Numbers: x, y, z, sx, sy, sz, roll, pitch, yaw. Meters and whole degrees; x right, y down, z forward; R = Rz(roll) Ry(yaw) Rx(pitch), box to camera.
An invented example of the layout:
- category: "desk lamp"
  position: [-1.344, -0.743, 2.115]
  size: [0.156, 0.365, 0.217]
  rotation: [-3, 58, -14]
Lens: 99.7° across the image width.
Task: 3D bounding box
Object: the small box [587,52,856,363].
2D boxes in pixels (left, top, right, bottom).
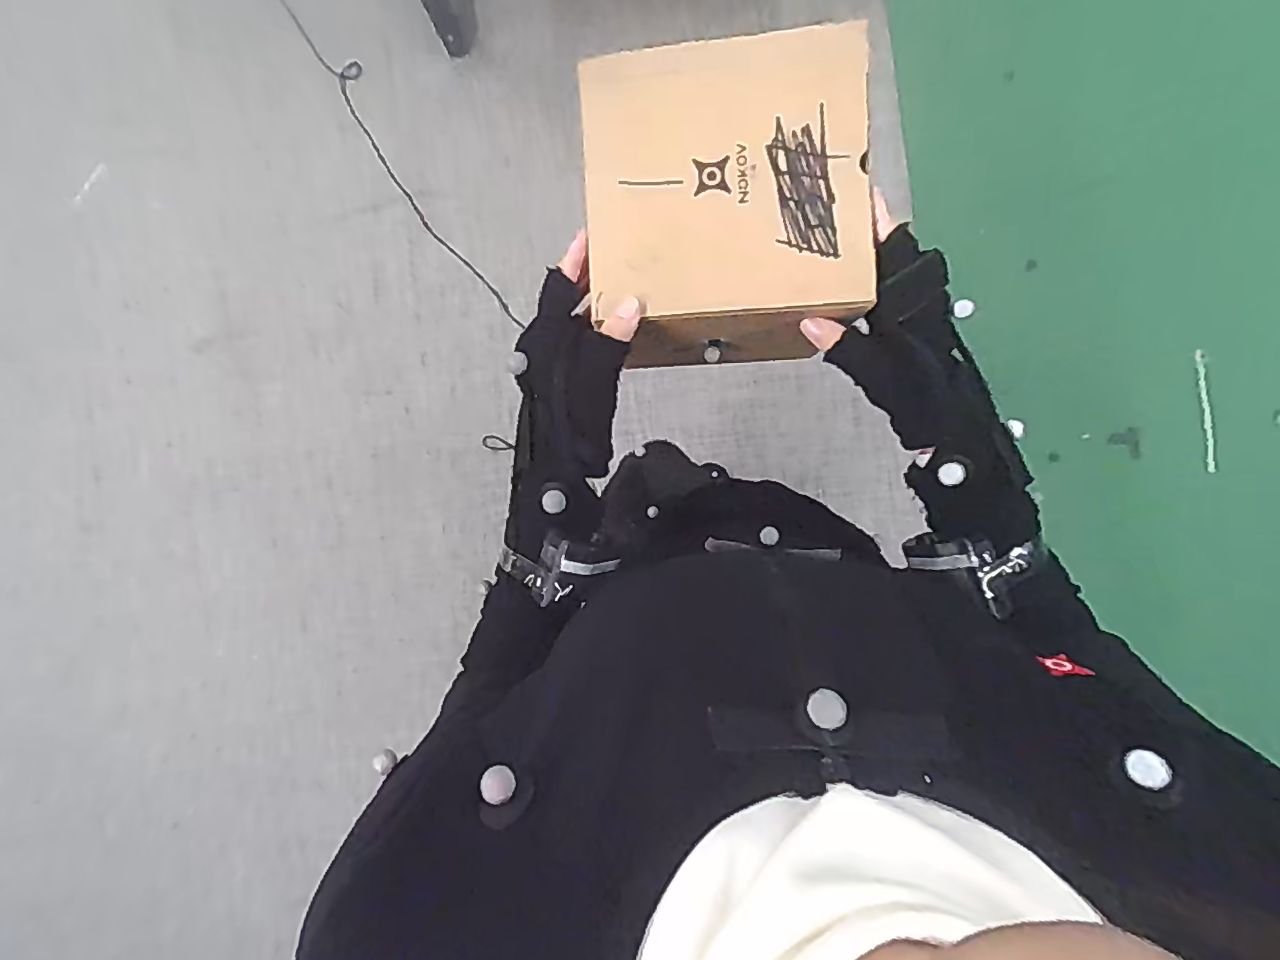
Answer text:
- category: "small box"
  position: [0.058, -0.193, 0.433]
  size: [0.179, 0.176, 0.168]
  rotation: [-1, 90, 5]
